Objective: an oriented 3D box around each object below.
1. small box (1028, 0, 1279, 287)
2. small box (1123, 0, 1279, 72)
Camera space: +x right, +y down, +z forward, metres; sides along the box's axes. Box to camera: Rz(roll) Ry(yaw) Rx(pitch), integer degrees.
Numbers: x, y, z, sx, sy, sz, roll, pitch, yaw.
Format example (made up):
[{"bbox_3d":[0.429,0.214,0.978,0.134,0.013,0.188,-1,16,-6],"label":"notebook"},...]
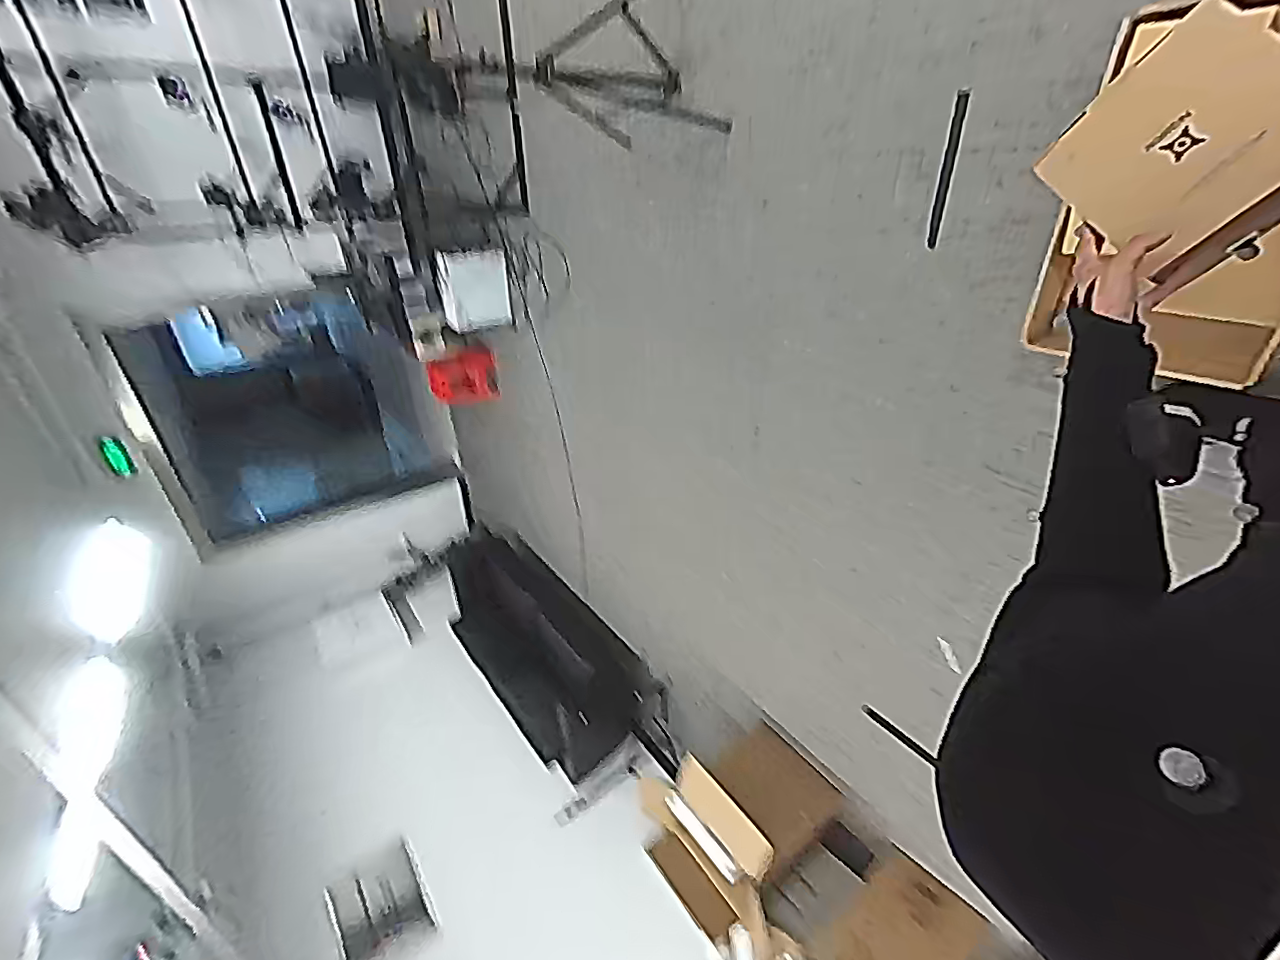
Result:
[{"bbox_3d":[0.550,-0.319,0.547,0.168,0.176,0.179,-48,61,43],"label":"small box"},{"bbox_3d":[0.990,-0.726,0.964,0.179,0.176,0.168,31,134,41],"label":"small box"}]
